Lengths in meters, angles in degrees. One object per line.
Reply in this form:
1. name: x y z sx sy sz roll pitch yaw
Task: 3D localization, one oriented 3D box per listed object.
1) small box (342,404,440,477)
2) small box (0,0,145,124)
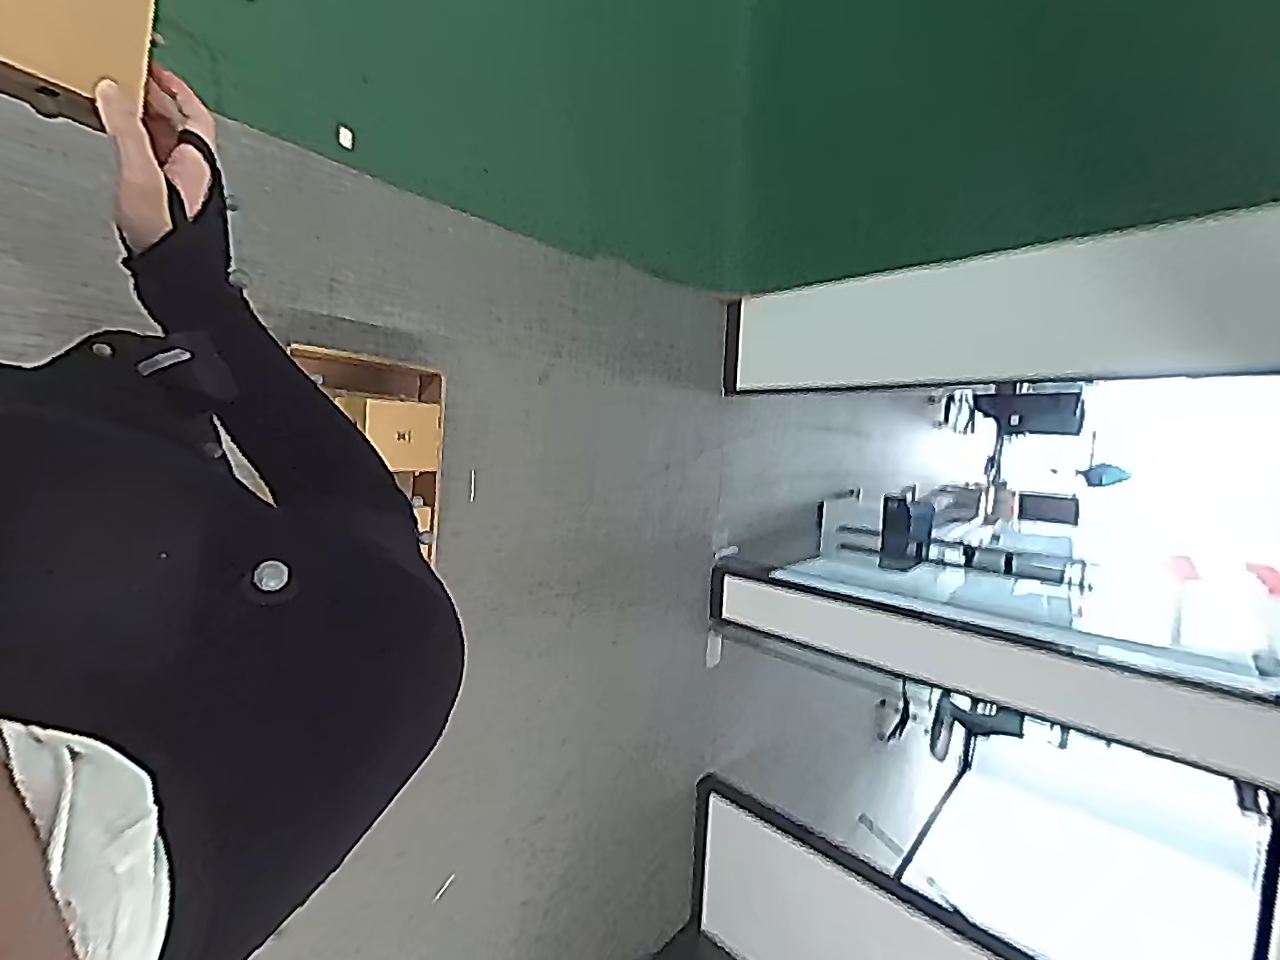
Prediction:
1. small box: -0.615 -0.096 1.328 0.179 0.176 0.168 -1 97 -46
2. small box: -0.453 -0.365 0.355 0.179 0.176 0.168 5 104 -49
